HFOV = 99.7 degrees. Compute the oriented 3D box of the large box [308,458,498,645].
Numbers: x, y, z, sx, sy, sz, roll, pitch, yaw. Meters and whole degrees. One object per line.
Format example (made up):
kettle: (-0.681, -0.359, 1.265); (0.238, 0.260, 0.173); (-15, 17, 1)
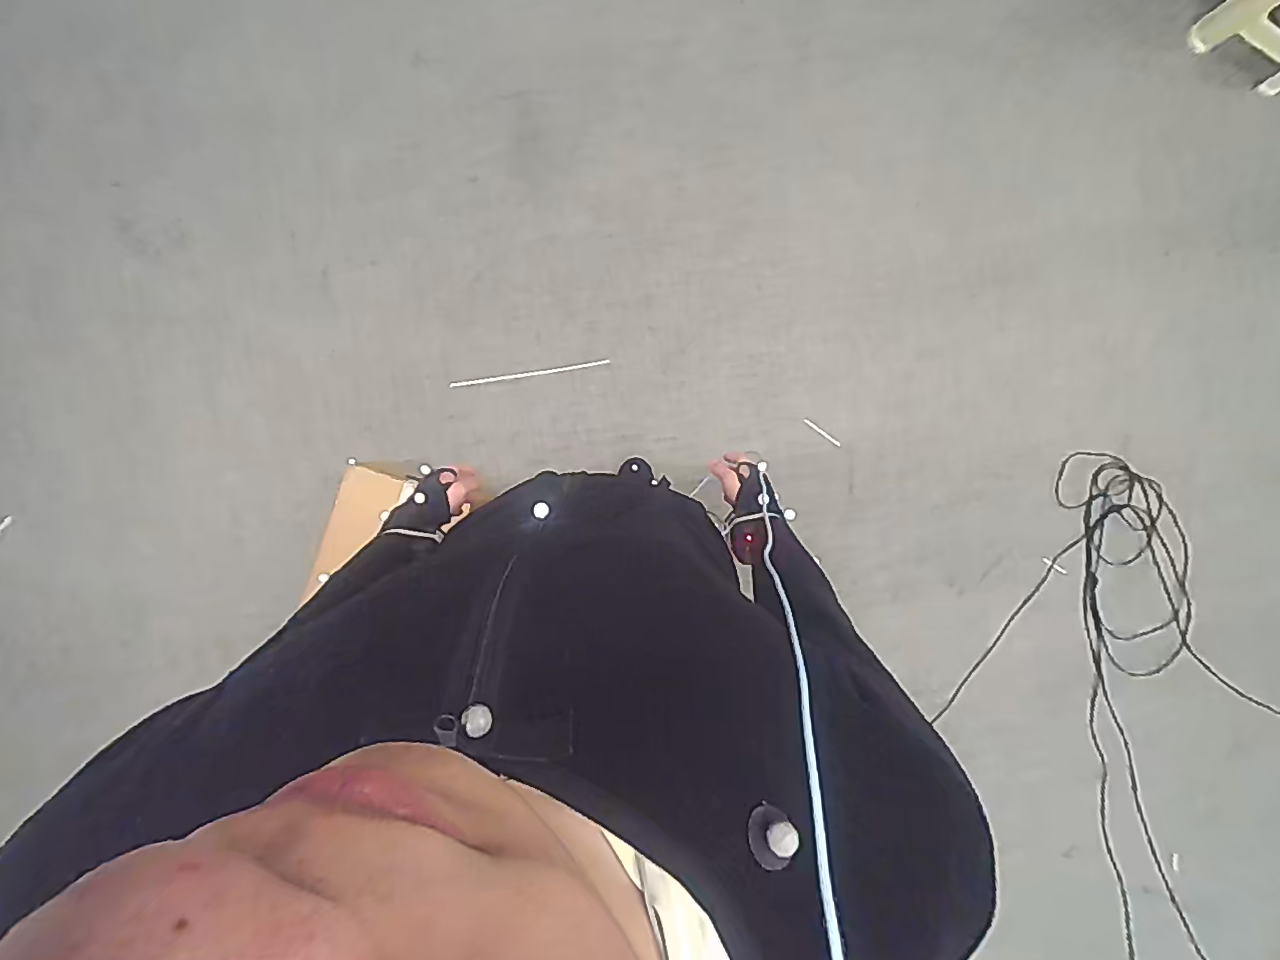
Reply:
large box: (-0.624, 0.178, 1.485); (0.320, 0.320, 0.408); (19, 90, -4)
